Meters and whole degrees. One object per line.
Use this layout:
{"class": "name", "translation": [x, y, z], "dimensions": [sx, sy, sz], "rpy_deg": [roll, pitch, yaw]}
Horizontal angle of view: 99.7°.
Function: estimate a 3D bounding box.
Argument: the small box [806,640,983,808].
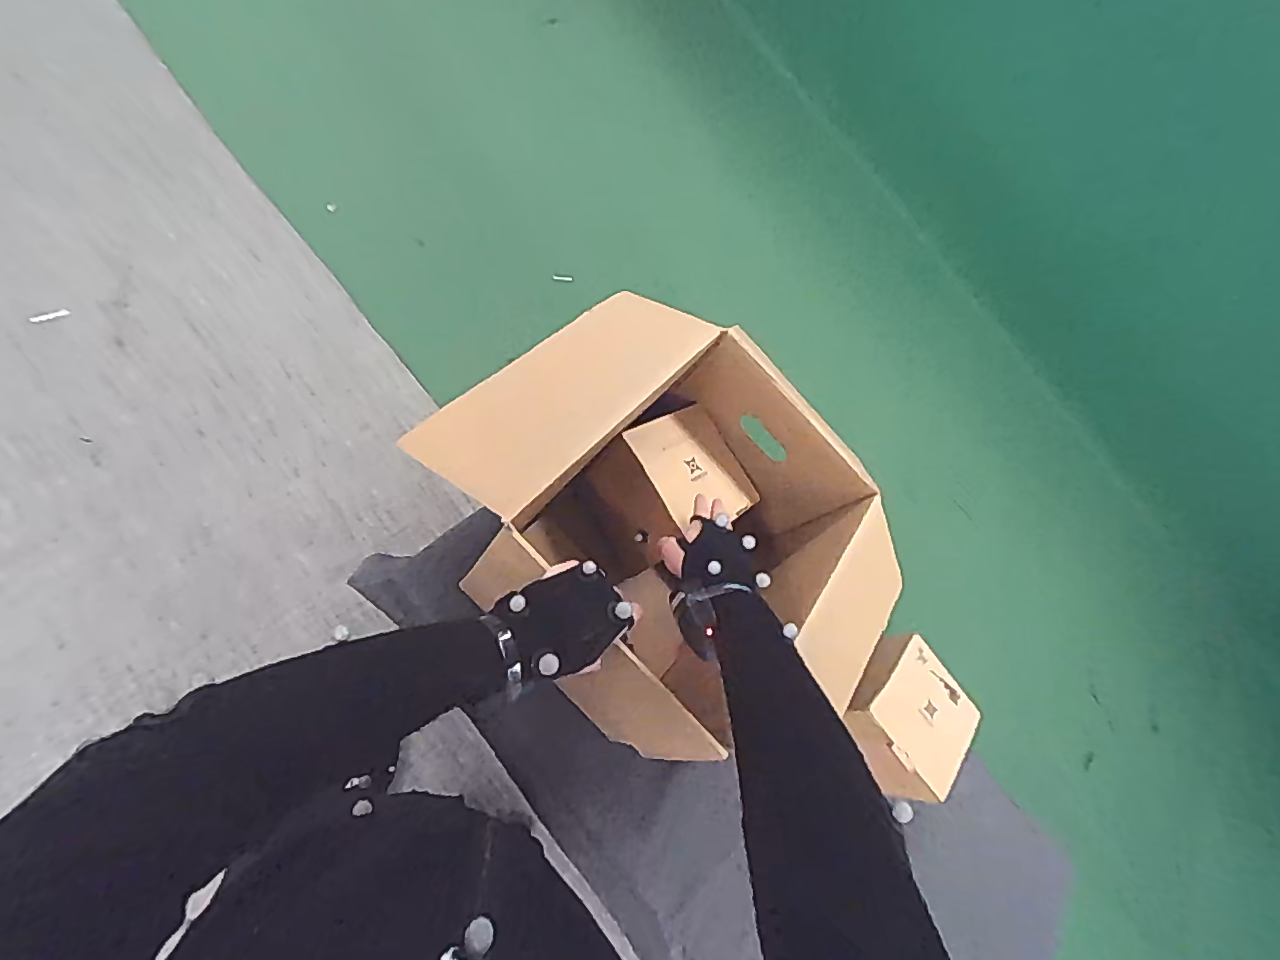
{"class": "small box", "translation": [0.399, 0.386, 0.875], "dimensions": [0.179, 0.176, 0.168], "rpy_deg": [-34, 87, -32]}
